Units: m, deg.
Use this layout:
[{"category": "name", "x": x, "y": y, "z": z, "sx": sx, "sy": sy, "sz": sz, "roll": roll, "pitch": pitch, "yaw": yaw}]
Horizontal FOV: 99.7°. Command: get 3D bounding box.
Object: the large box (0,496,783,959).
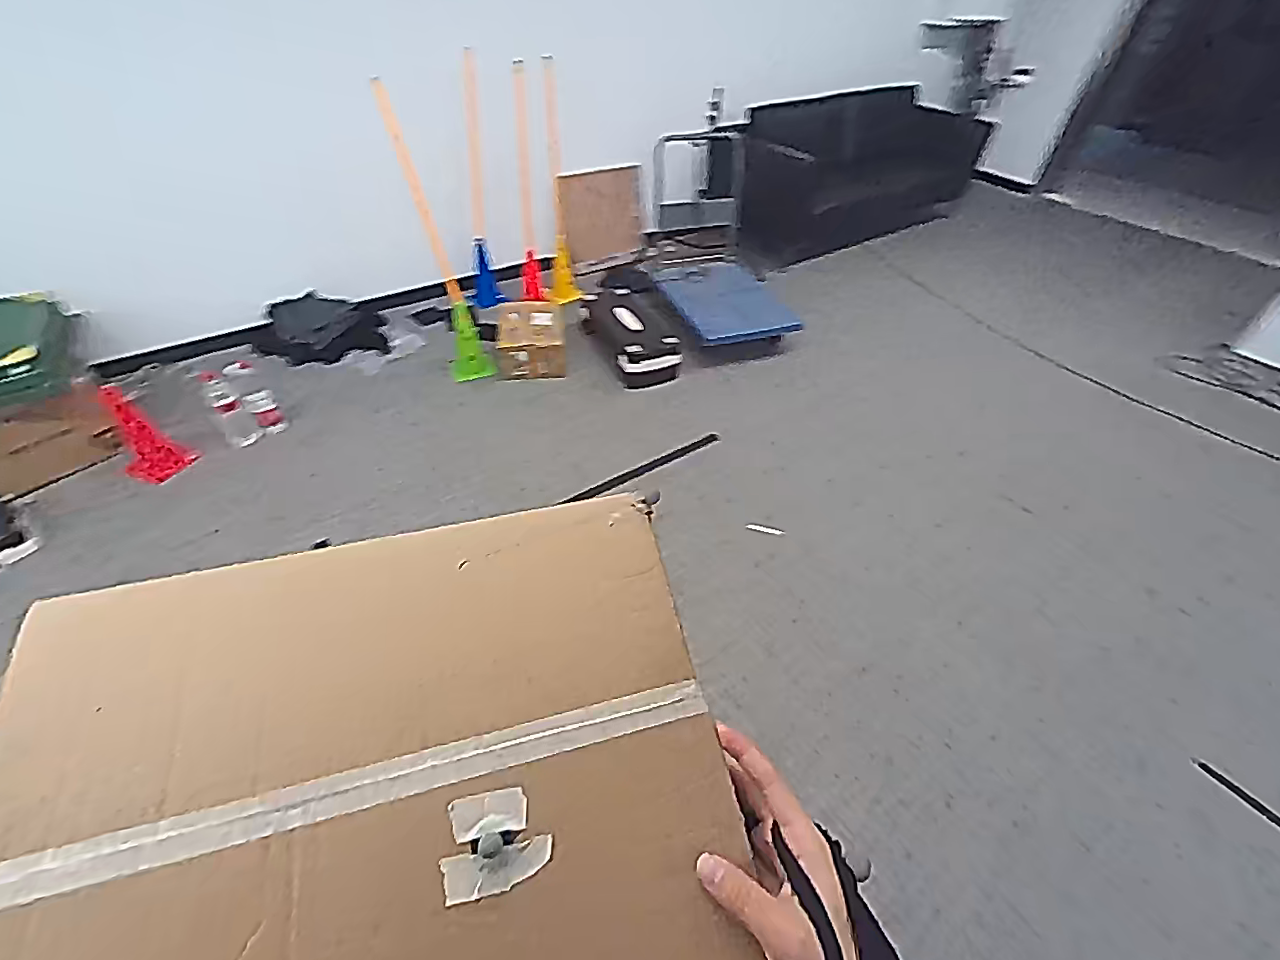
[{"category": "large box", "x": -0.160, "y": 0.251, "z": 0.449, "sx": 0.408, "sy": 0.320, "sz": 0.320, "roll": -9, "pitch": 60, "yaw": -11}]
